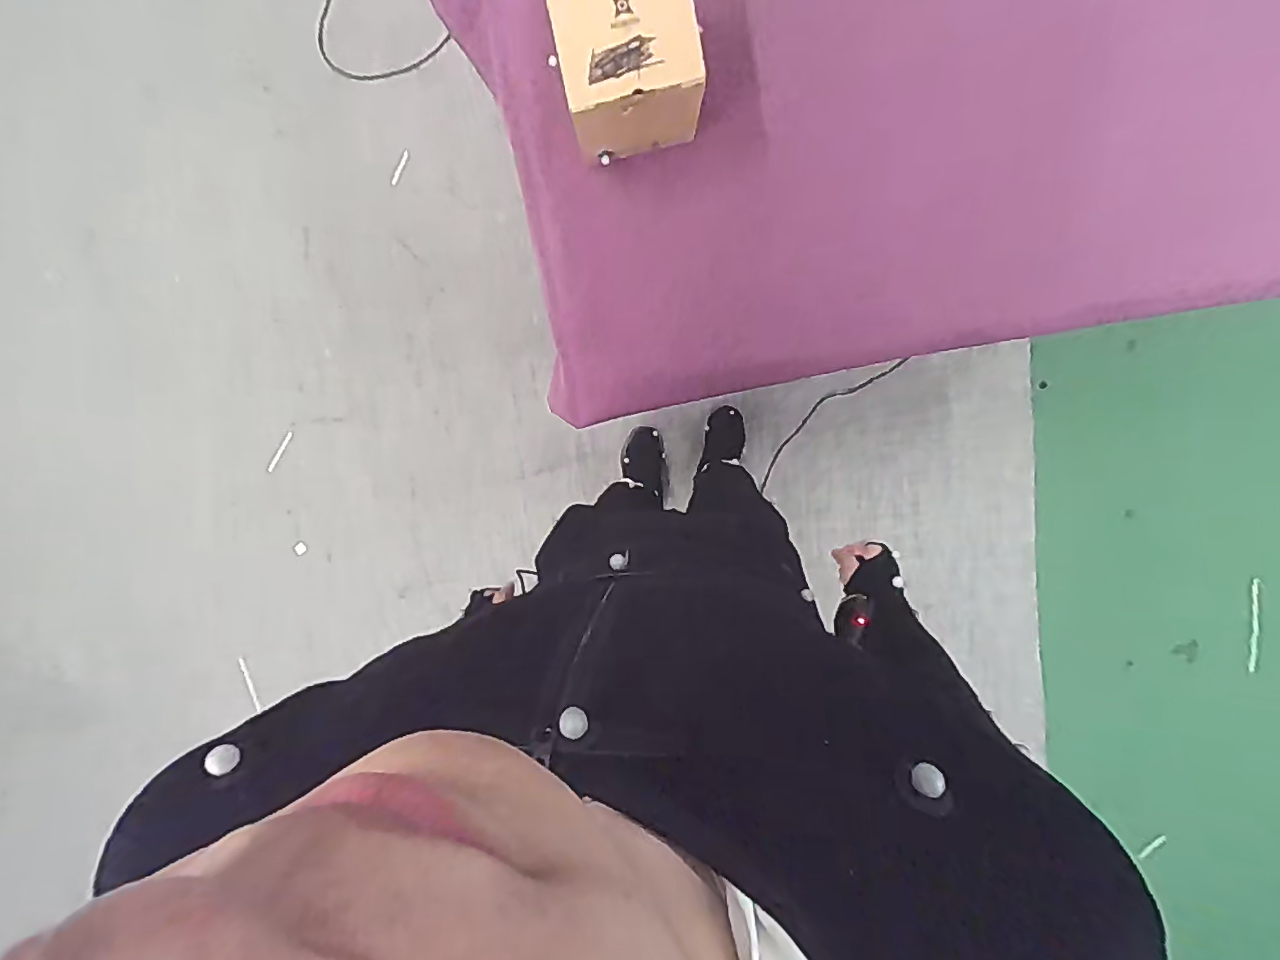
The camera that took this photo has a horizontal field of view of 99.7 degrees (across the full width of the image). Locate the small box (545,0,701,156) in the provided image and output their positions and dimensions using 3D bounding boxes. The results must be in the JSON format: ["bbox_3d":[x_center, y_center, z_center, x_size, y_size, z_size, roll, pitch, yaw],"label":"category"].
[{"bbox_3d":[-0.022,-0.549,0.699,0.168,0.176,0.179,-12,99,2],"label":"small box"}]
